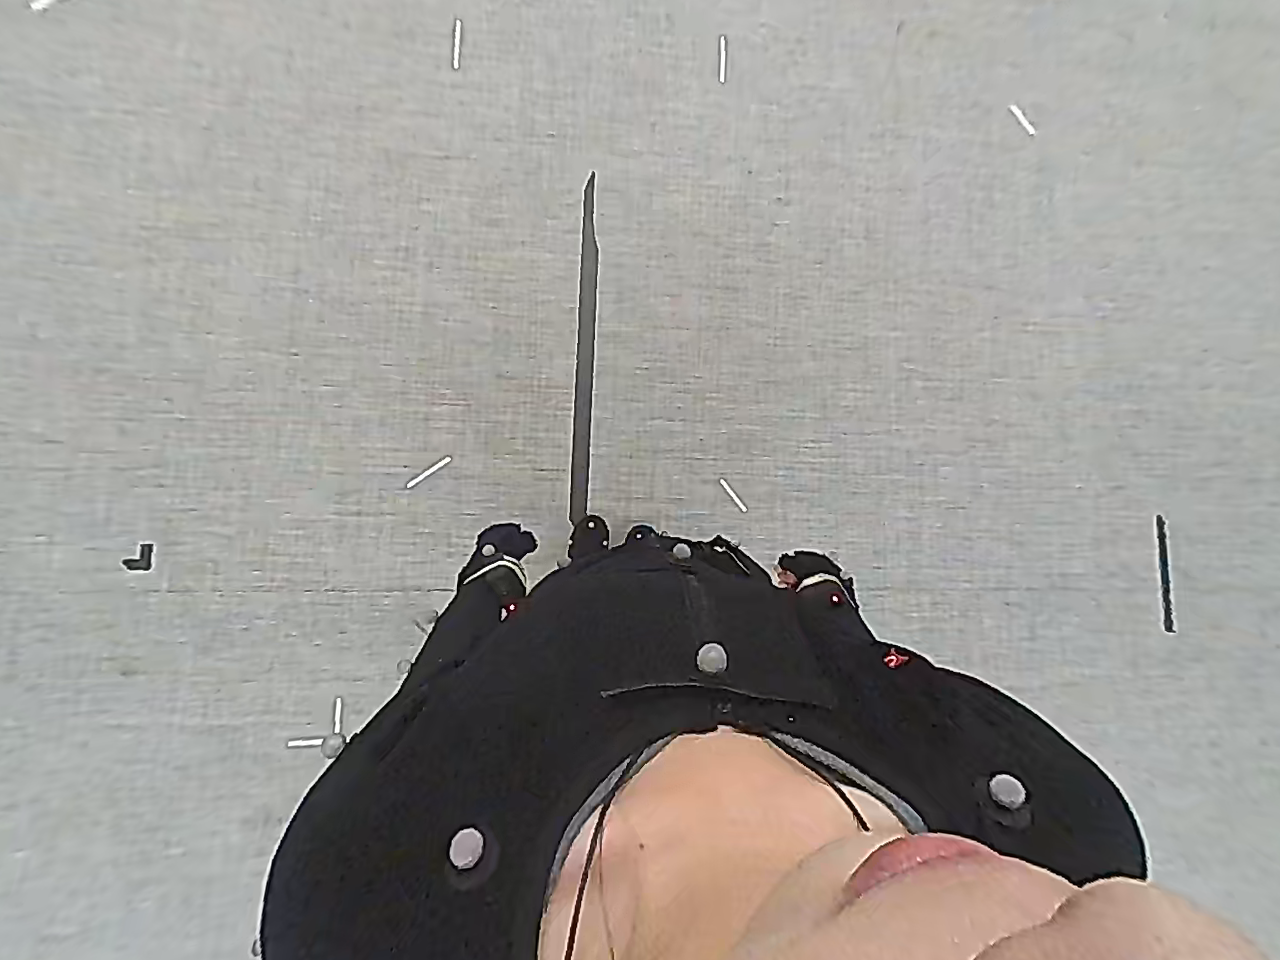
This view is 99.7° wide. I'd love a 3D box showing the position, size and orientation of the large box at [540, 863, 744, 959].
[{"bbox_3d":[0.010,1.081,1.127,0.408,0.320,0.320,-6,85,-6],"label":"large box"}]
